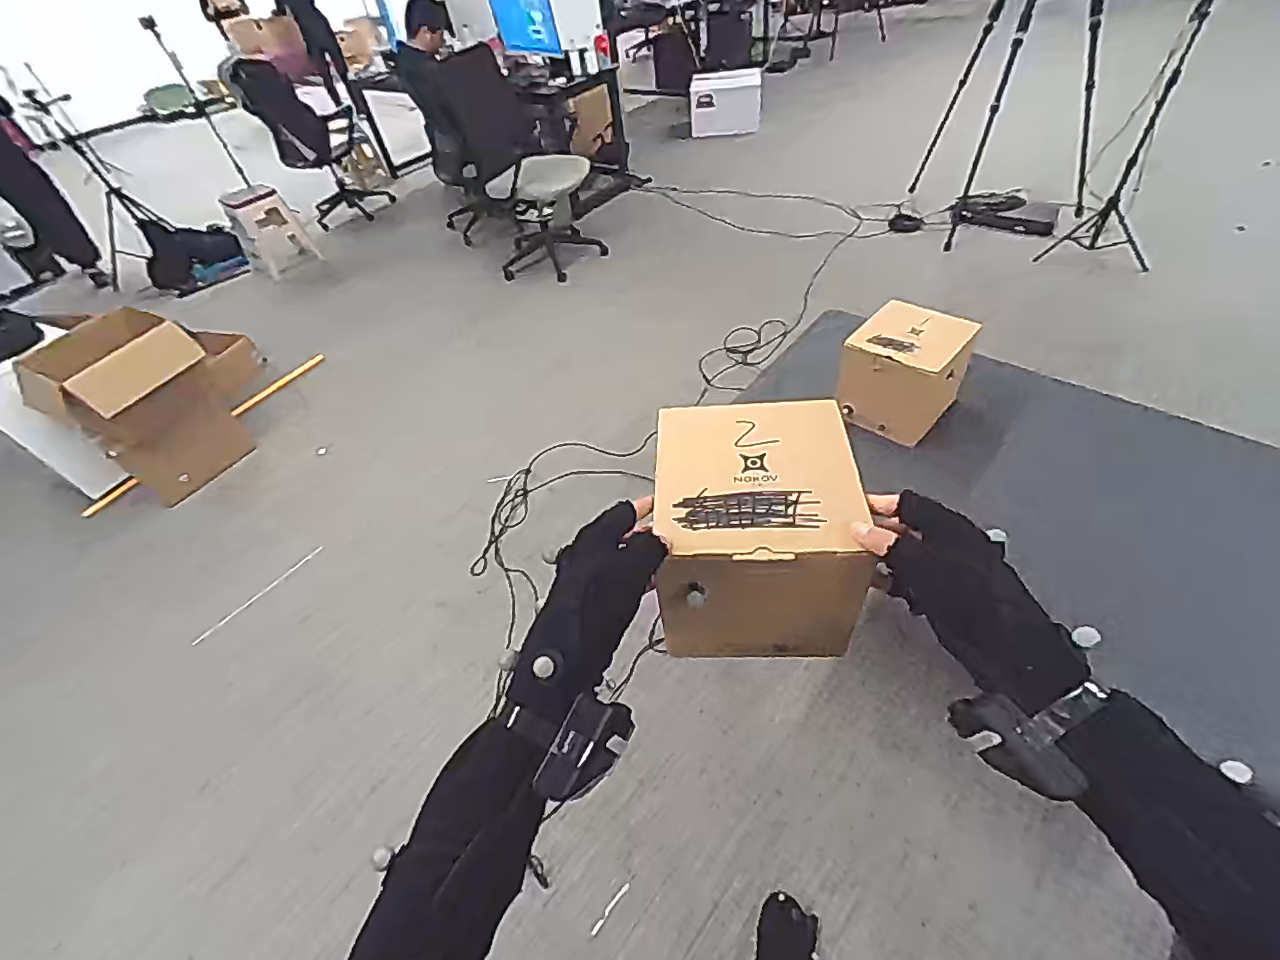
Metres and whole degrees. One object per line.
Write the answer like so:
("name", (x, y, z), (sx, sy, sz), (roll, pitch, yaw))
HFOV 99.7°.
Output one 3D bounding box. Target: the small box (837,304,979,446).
("small box", (0.484, -0.192, 1.002), (0.168, 0.176, 0.179), (32, 59, 33))
